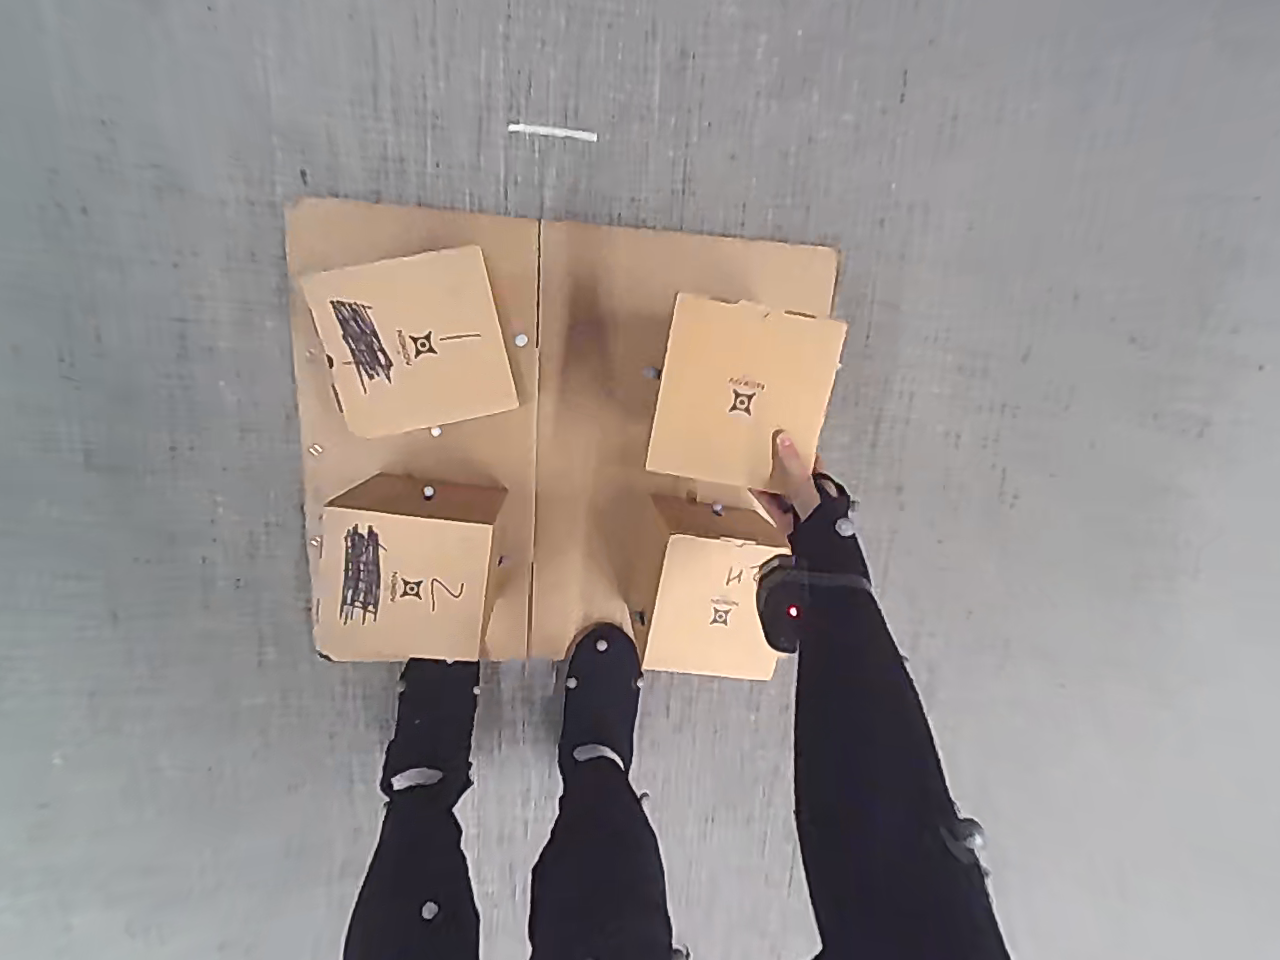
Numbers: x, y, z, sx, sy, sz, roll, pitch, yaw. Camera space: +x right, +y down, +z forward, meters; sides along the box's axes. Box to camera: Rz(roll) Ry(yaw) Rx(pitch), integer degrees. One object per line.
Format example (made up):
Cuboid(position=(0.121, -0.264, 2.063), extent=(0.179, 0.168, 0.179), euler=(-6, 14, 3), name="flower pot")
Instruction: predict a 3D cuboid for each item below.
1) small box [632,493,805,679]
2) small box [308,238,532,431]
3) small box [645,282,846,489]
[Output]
Cuboid(position=(0.088, 0.130, 0.710), extent=(0.168, 0.176, 0.179), euler=(10, 101, -10), name="small box")
Cuboid(position=(-0.229, -0.157, 0.614), extent=(0.179, 0.176, 0.168), euler=(-12, 103, -6), name="small box")
Cuboid(position=(0.103, -0.102, 0.606), extent=(0.168, 0.176, 0.179), euler=(11, 99, -1), name="small box")
